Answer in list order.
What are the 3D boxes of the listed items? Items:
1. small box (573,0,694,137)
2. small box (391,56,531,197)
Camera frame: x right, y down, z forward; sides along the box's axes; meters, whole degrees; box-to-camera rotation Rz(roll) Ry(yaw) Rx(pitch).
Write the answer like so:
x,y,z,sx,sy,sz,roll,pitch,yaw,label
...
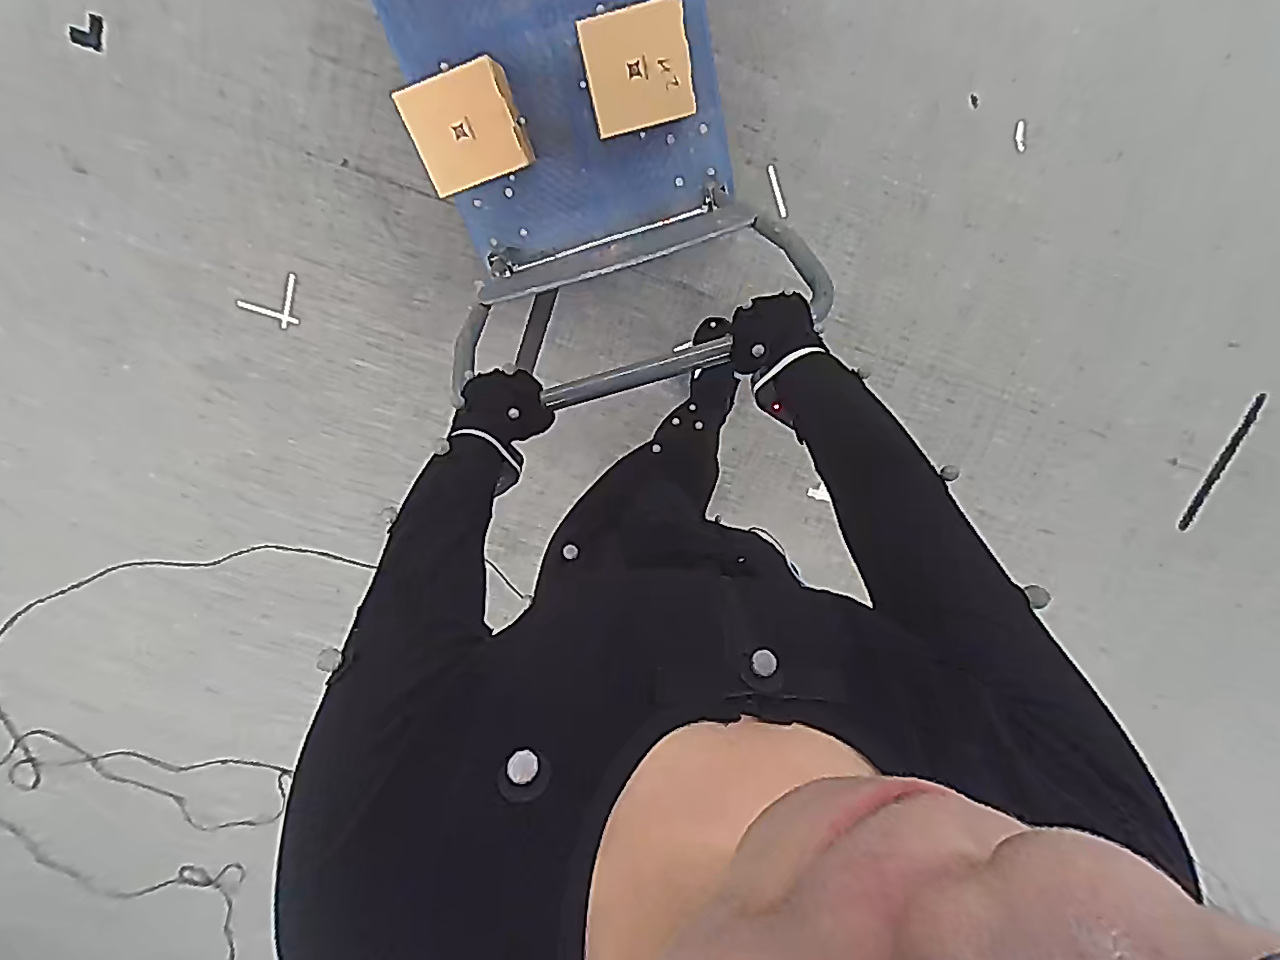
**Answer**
x,y,z,sx,sy,sz,roll,pitch,yaw,label
-0.012,-0.728,0.970,0.179,0.176,0.168,-13,123,3,small box
-0.316,-0.640,0.995,0.179,0.176,0.168,-19,122,5,small box
